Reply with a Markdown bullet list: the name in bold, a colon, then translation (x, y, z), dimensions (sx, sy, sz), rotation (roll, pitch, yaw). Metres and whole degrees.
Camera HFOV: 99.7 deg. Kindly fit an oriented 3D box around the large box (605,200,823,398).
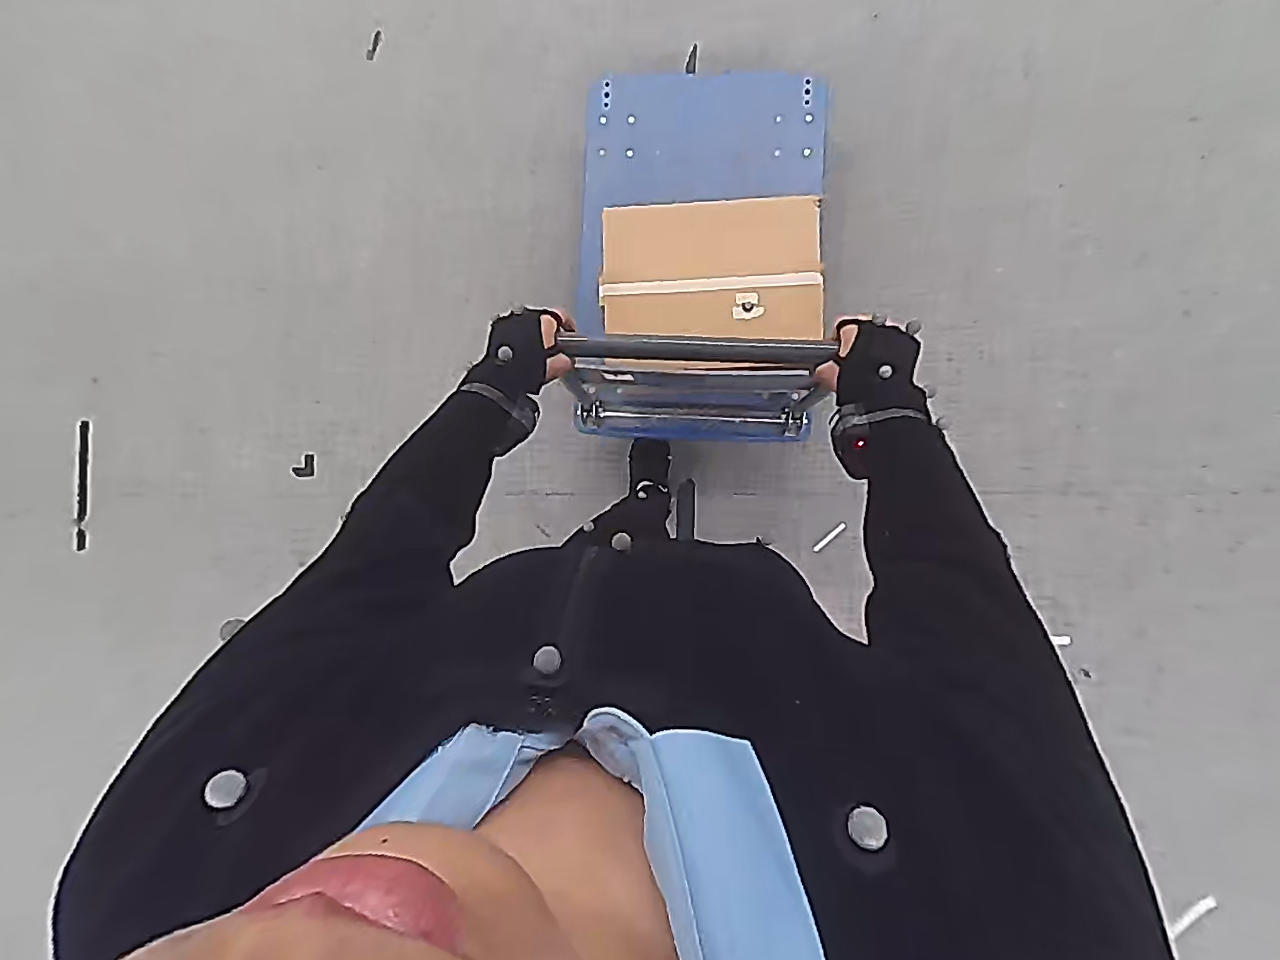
- **large box**: translation (0.144, -0.361, 1.166), dimensions (0.408, 0.320, 0.320), rotation (-2, 91, 3)
